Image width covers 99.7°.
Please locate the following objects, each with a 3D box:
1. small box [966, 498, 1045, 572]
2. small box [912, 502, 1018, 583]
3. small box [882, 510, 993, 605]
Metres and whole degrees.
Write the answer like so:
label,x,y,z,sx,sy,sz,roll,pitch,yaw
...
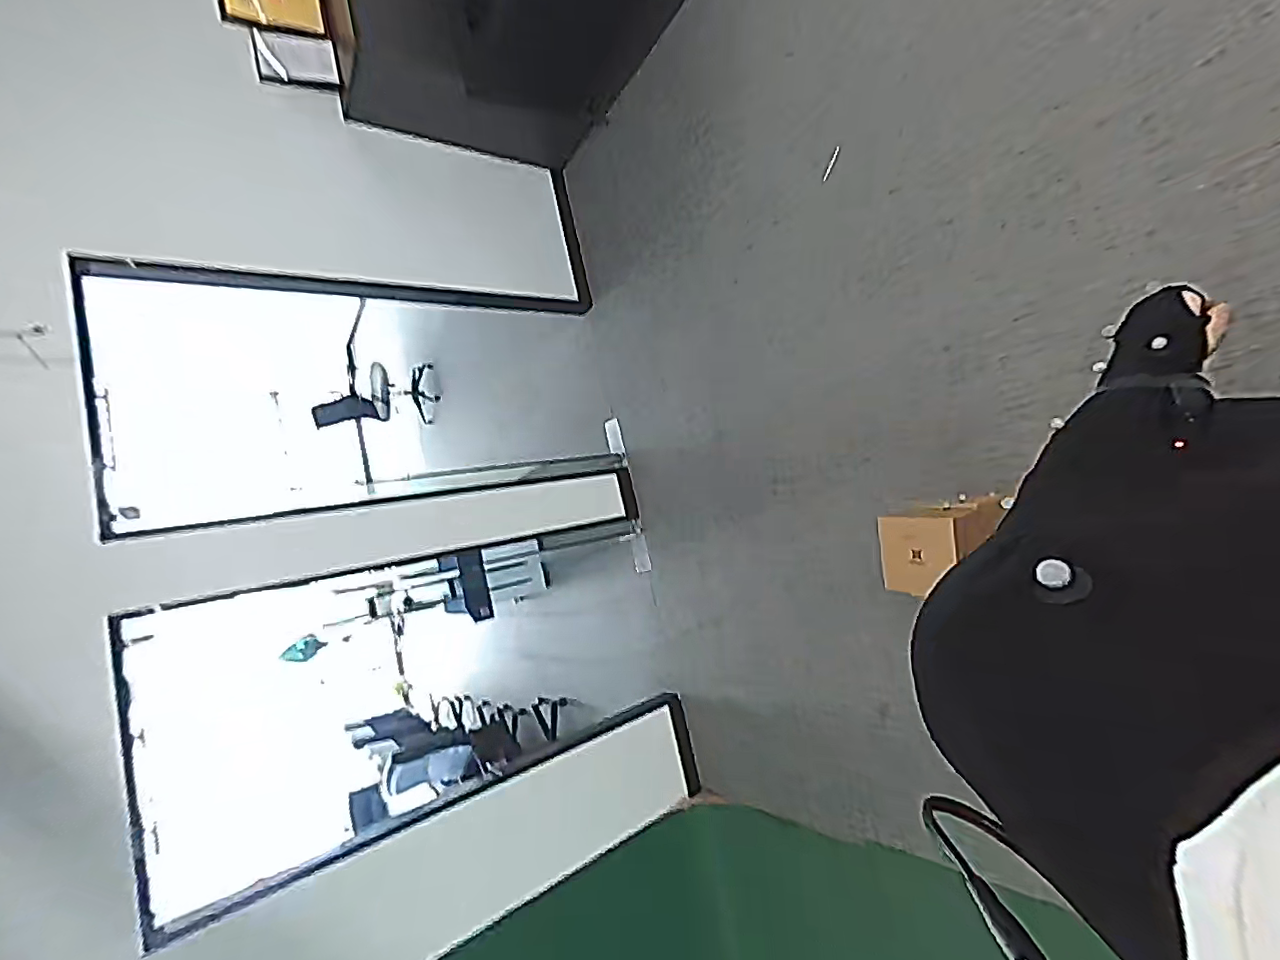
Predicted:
label,x,y,z,sx,sy,sz,roll,pitch,yaw
small box,0.938,0.141,1.424,0.179,0.176,0.168,-8,89,53
small box,0.801,0.150,1.334,0.168,0.176,0.179,-10,88,54
small box,0.678,0.169,1.230,0.168,0.176,0.179,-3,93,53
